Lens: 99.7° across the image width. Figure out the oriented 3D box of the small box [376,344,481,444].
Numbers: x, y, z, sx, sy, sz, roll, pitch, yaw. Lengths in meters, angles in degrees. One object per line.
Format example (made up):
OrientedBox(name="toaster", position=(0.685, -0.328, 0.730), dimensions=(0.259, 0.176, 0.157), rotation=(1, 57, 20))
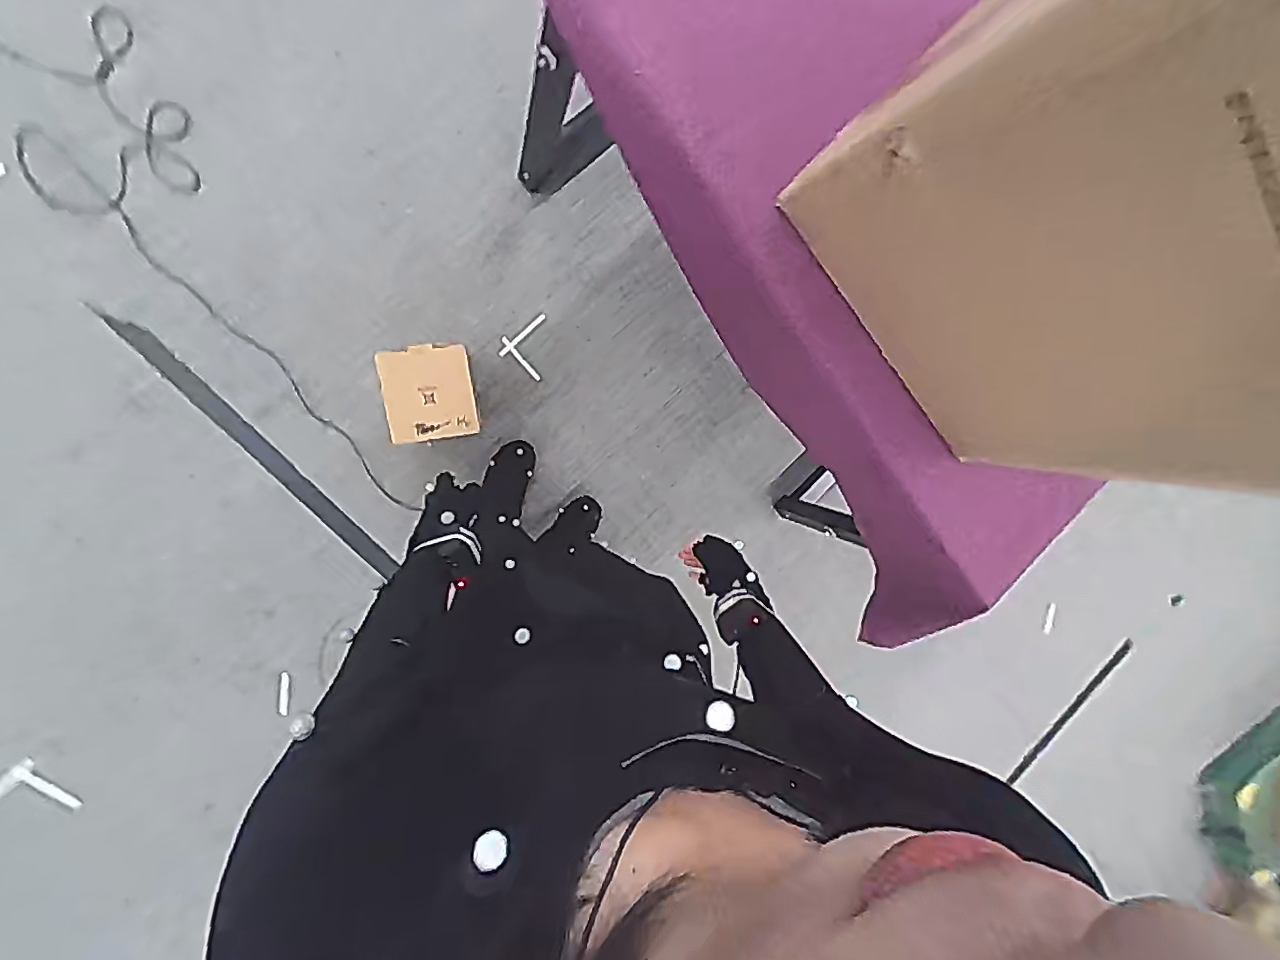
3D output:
OrientedBox(name="small box", position=(-0.424, -0.173, 1.107), dimensions=(0.168, 0.176, 0.179), rotation=(-10, 100, -15))
